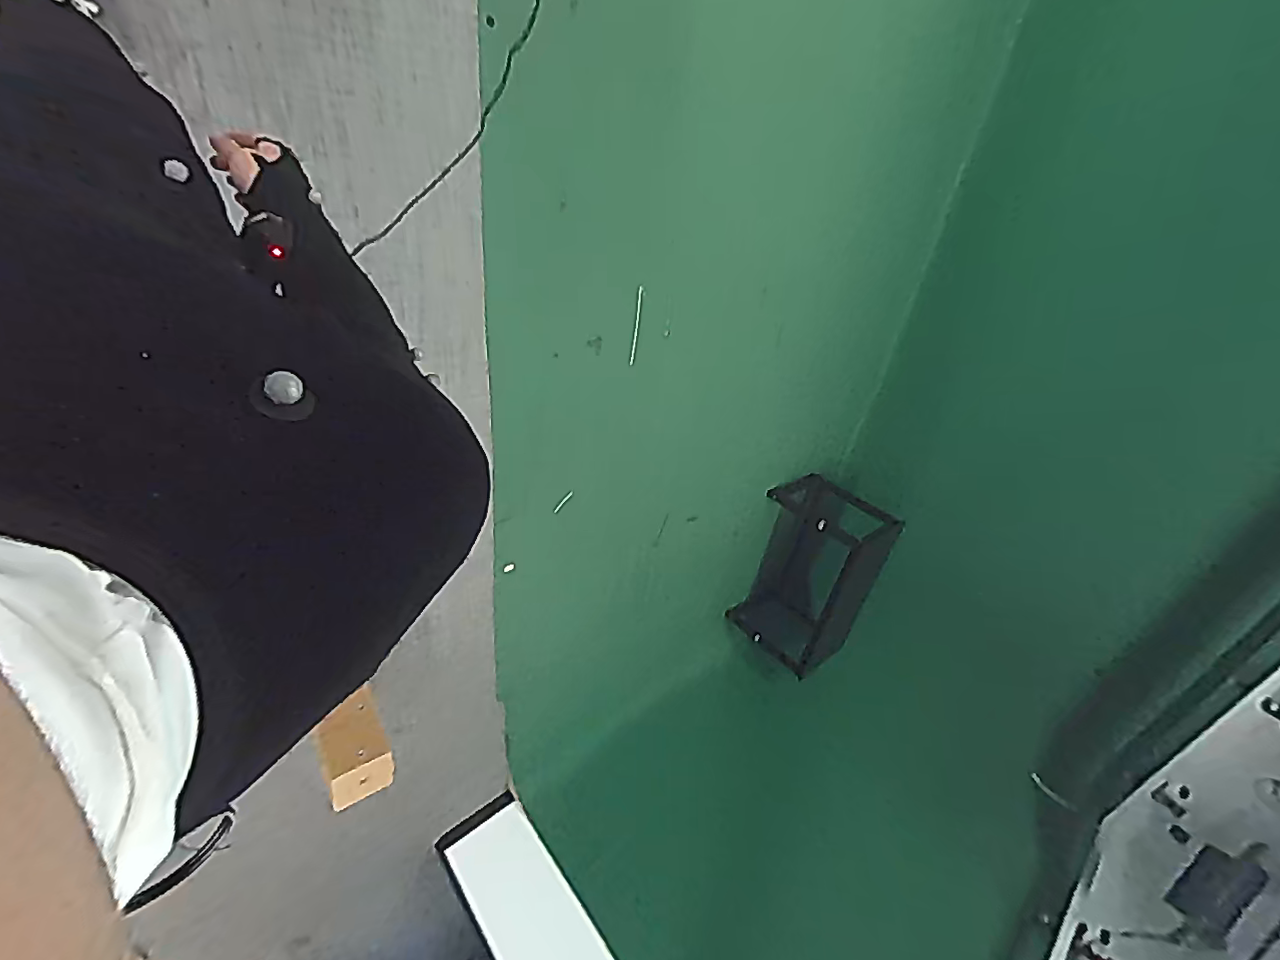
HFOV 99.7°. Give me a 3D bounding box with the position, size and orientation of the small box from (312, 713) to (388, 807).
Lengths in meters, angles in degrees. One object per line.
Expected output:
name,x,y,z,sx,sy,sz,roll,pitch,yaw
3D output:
small box,-0.924,0.883,1.725,0.179,0.176,0.168,-12,127,-41

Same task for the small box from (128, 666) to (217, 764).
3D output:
small box,-1.399,0.696,1.617,0.179,0.176,0.168,-15,129,-41
